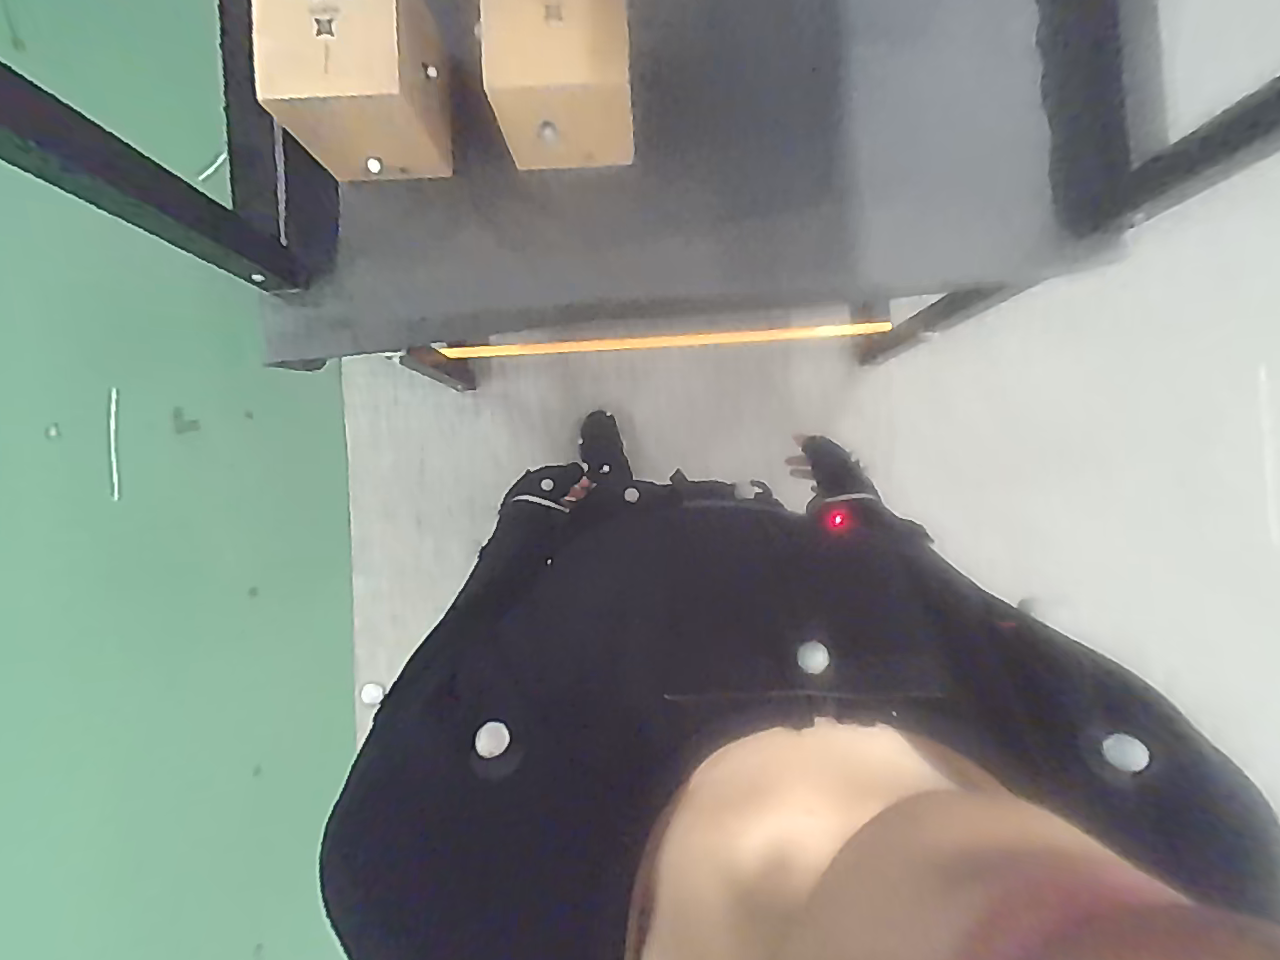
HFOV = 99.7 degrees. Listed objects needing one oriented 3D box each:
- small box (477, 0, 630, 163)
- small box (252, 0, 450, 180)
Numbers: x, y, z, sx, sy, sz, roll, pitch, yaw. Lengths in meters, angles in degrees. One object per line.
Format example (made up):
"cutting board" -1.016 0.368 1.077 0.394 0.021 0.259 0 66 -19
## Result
"small box" -0.099 -0.529 0.686 0.168 0.176 0.179 -3 89 1
"small box" -0.352 -0.515 0.687 0.168 0.176 0.179 -2 90 1
